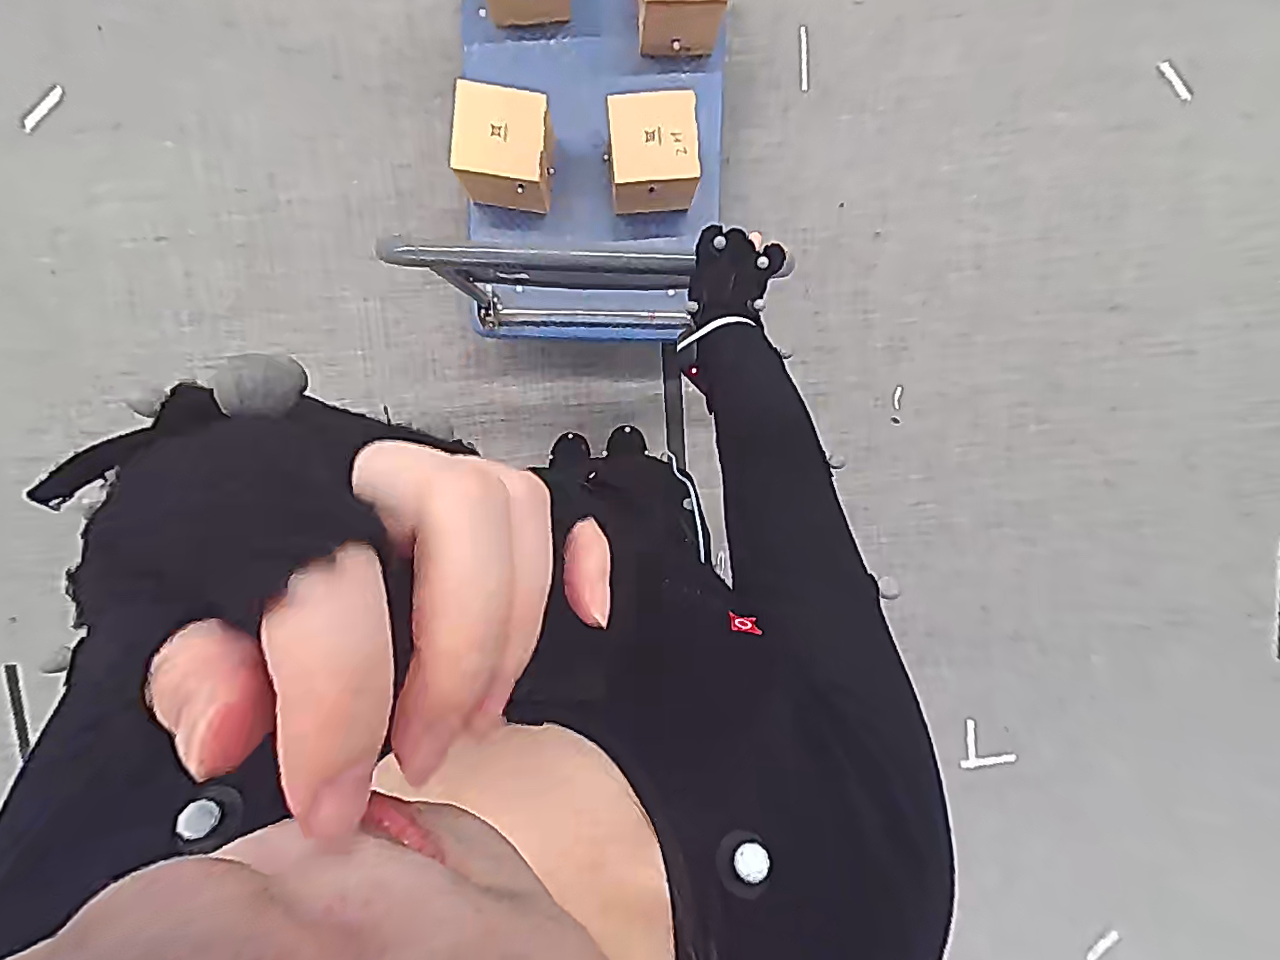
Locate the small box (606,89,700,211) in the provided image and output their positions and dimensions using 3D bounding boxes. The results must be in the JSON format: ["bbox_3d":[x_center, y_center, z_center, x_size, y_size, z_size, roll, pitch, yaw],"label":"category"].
[{"bbox_3d":[0.024,-0.684,1.139,0.179,0.176,0.168,-5,98,-2],"label":"small box"}]

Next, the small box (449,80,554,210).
[{"bbox_3d":[-0.280,-0.683,1.124,0.179,0.176,0.168,6,96,-5],"label":"small box"}]

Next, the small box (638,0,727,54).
[{"bbox_3d":[0.081,-1.016,1.100,0.168,0.176,0.179,-3,98,-2],"label":"small box"}]
